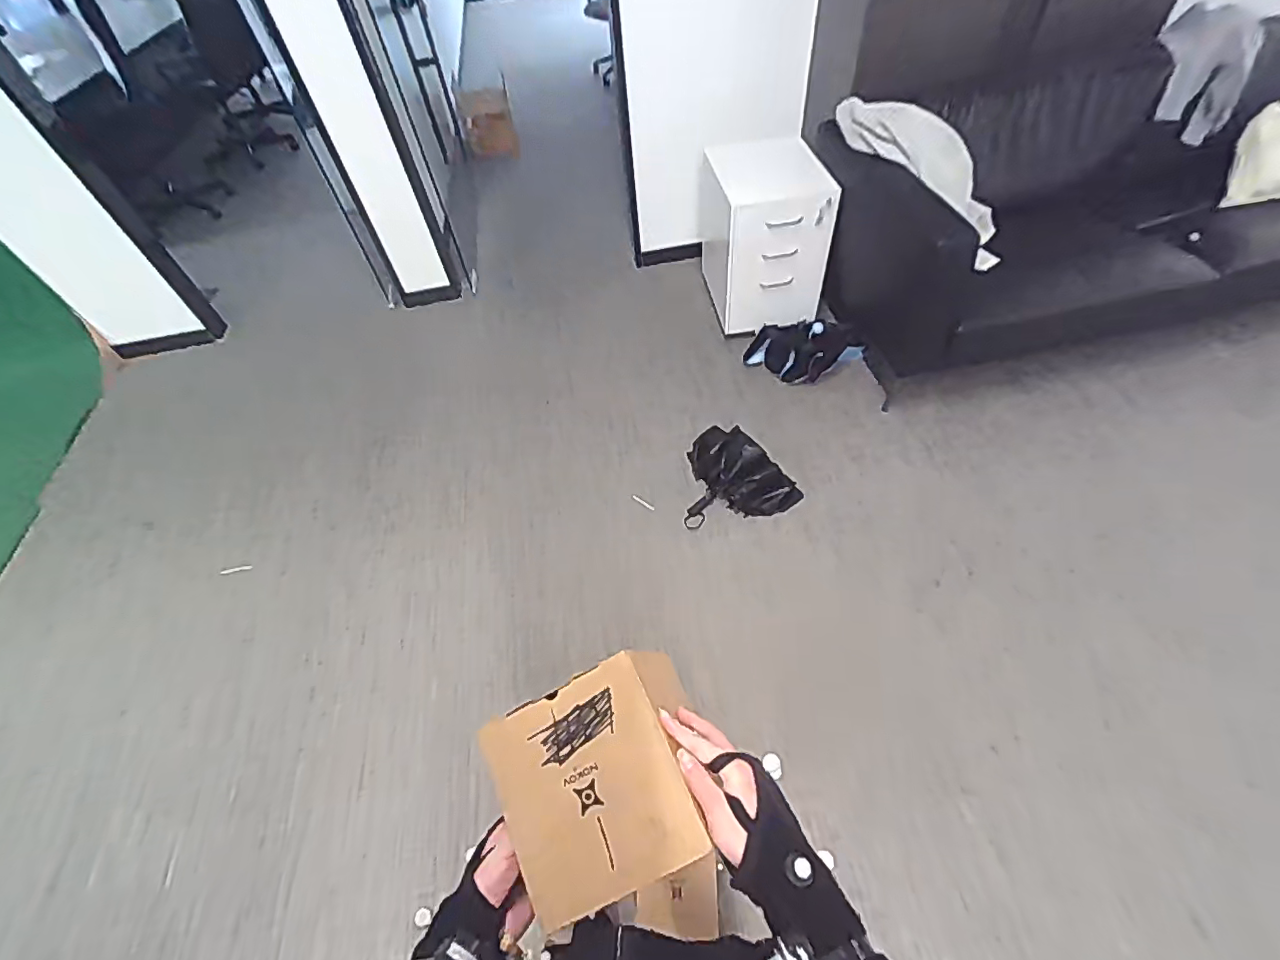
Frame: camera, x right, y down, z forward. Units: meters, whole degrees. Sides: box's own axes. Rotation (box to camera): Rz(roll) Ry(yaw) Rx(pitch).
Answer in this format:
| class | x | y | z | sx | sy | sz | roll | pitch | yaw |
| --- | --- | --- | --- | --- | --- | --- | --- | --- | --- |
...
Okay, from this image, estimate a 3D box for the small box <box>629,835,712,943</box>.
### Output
| class | x | y | z | sx | sy | sz | roll | pitch | yaw |
| --- | --- | --- | --- | --- | --- | --- | --- | --- | --- |
| small box | 0.068 | 0.885 | 1.176 | 0.168 | 0.176 | 0.179 | -2 | 53 | 5 |
